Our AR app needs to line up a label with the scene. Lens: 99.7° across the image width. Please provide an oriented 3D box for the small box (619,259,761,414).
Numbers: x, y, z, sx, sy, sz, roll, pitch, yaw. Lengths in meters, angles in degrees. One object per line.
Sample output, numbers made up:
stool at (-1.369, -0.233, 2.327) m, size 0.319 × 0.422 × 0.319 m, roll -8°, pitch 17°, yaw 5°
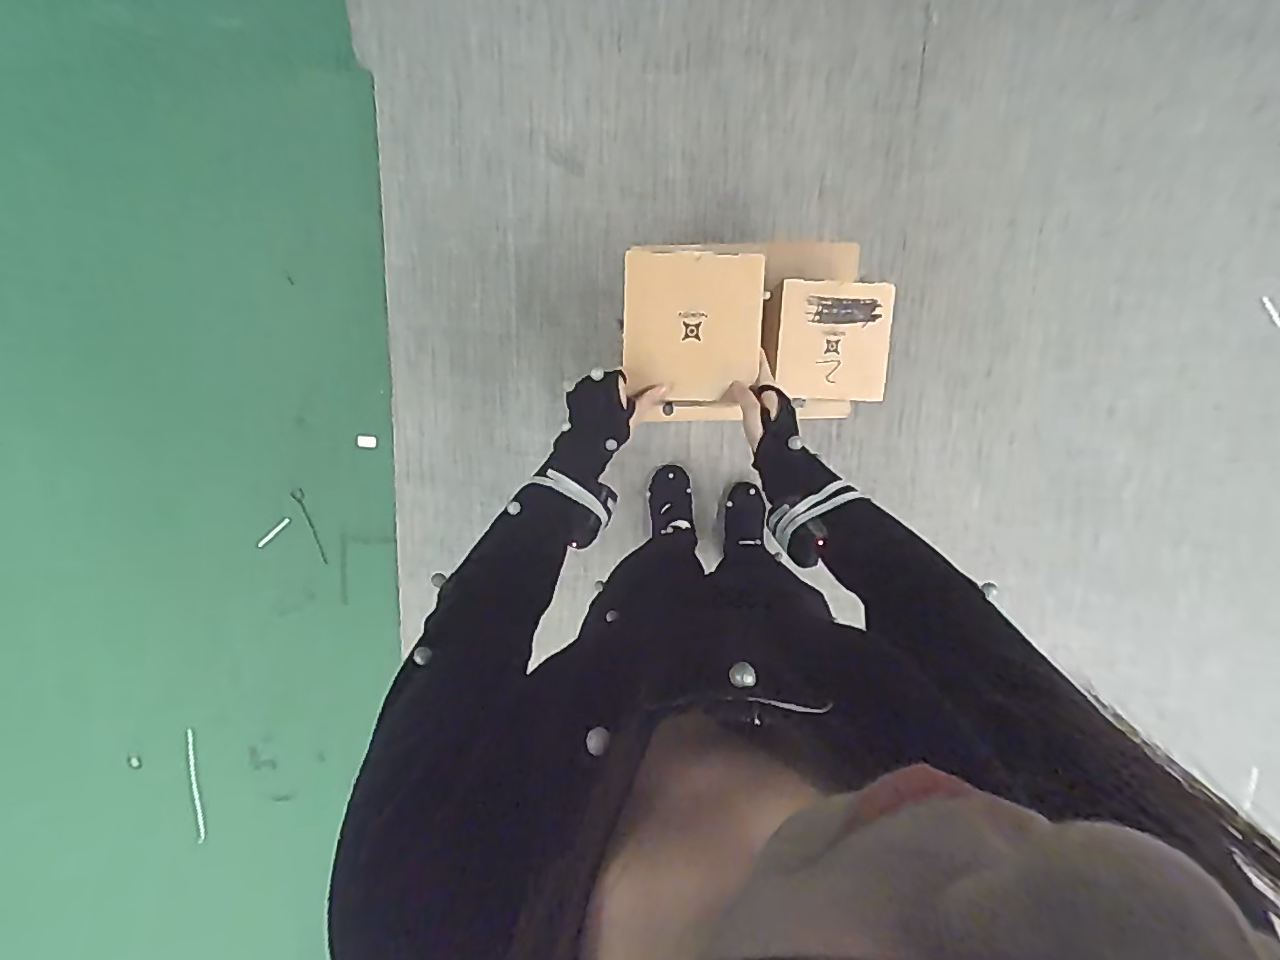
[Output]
small box at (0.063, -0.182, 0.734) m, size 0.168 × 0.176 × 0.179 m, roll 2°, pitch 94°, yaw 1°
